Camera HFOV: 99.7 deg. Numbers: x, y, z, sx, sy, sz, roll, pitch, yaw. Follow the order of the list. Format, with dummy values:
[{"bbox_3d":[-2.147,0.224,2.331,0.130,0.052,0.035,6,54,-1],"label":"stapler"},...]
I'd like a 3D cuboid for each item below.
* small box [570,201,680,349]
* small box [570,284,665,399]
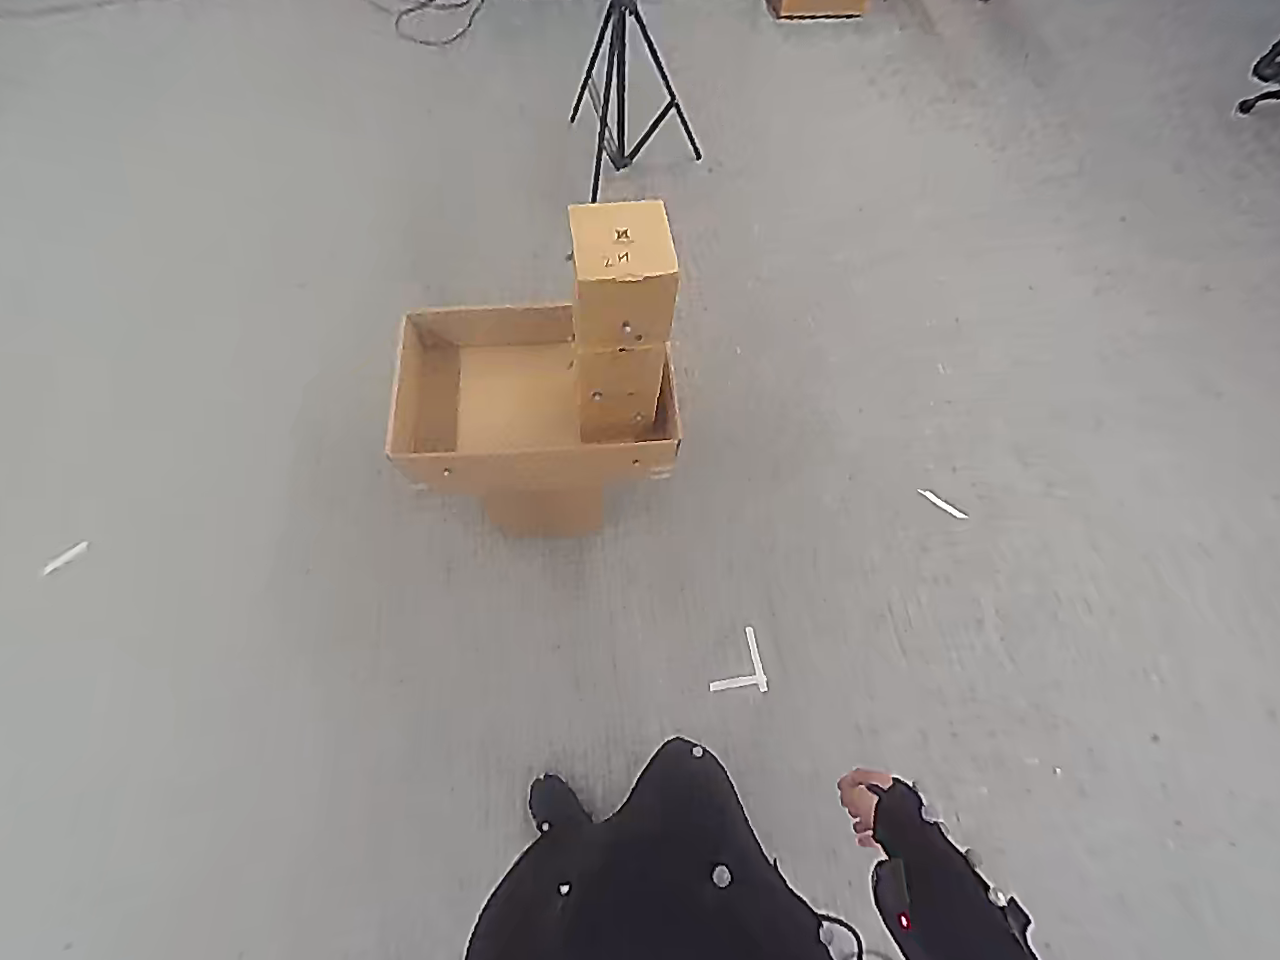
[{"bbox_3d":[-0.032,-0.357,0.952,0.168,0.176,0.179,-7,67,-6],"label":"small box"},{"bbox_3d":[-0.047,-0.277,1.095,0.168,0.176,0.179,-6,66,-6],"label":"small box"}]
